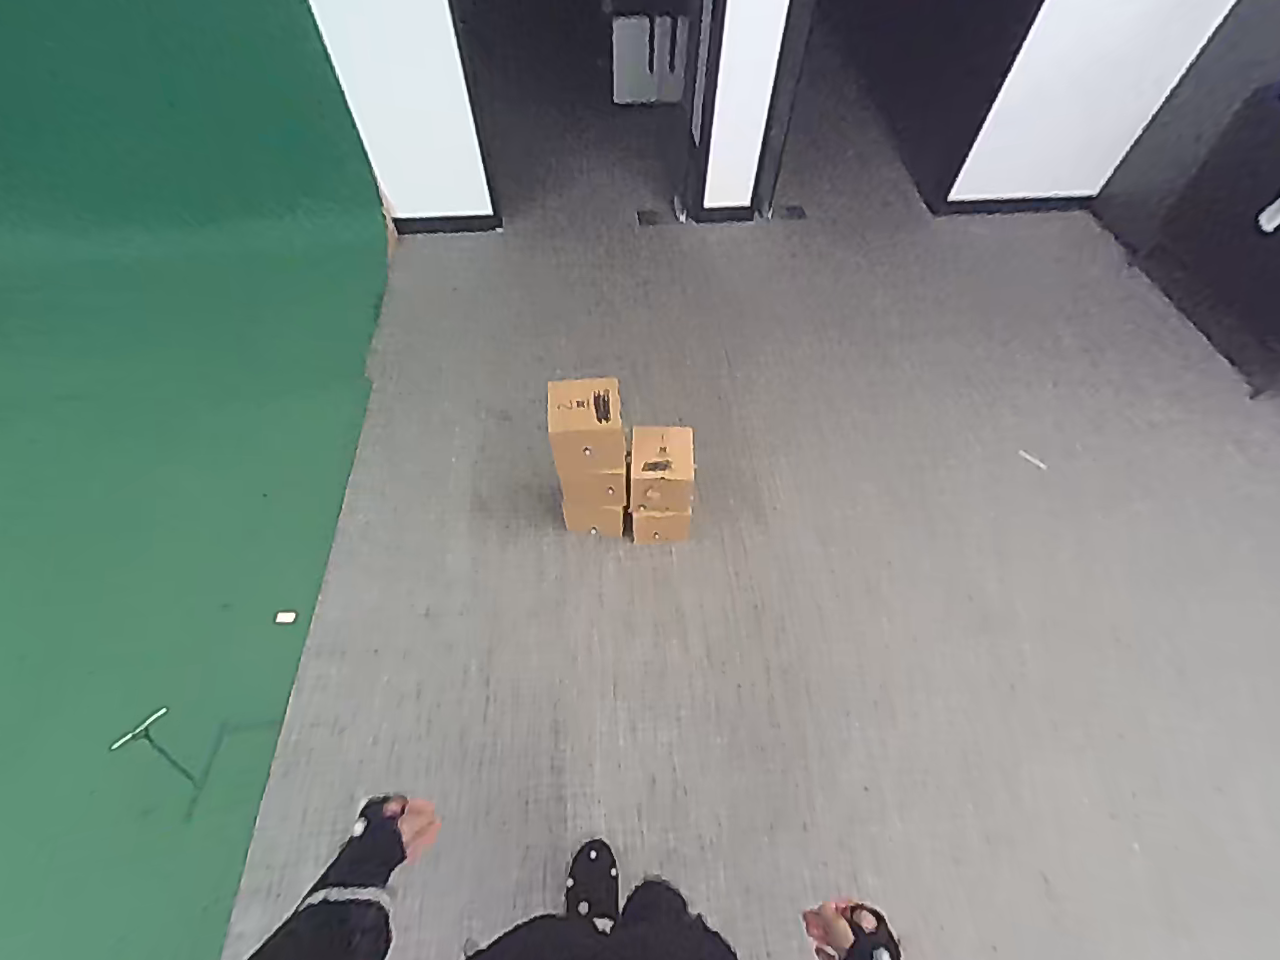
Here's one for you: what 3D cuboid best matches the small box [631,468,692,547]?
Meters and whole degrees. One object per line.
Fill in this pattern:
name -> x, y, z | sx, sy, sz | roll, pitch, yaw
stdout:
small box -> 0.059, 0.084, 1.624 | 0.168, 0.176, 0.179 | -3, 57, -3
